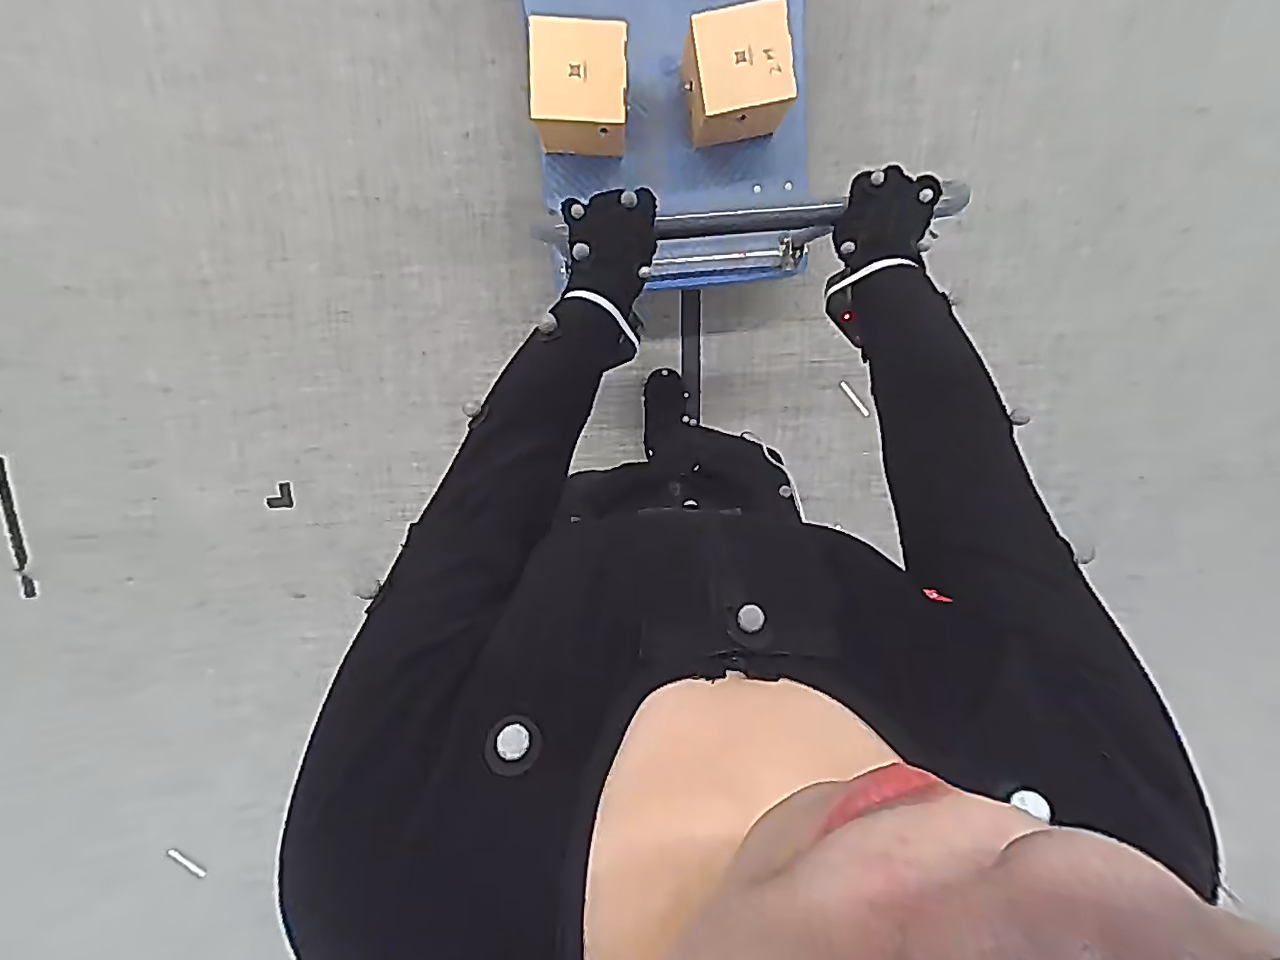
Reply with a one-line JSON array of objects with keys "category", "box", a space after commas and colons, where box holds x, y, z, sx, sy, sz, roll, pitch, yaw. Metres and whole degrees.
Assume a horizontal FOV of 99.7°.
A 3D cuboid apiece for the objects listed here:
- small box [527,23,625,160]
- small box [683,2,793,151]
[{"category": "small box", "box": [-0.120, -0.745, 1.056, 0.179, 0.176, 0.168, 0, 102, -3]}, {"category": "small box", "box": [0.183, -0.774, 1.059, 0.179, 0.176, 0.168, -11, 103, 1]}]
